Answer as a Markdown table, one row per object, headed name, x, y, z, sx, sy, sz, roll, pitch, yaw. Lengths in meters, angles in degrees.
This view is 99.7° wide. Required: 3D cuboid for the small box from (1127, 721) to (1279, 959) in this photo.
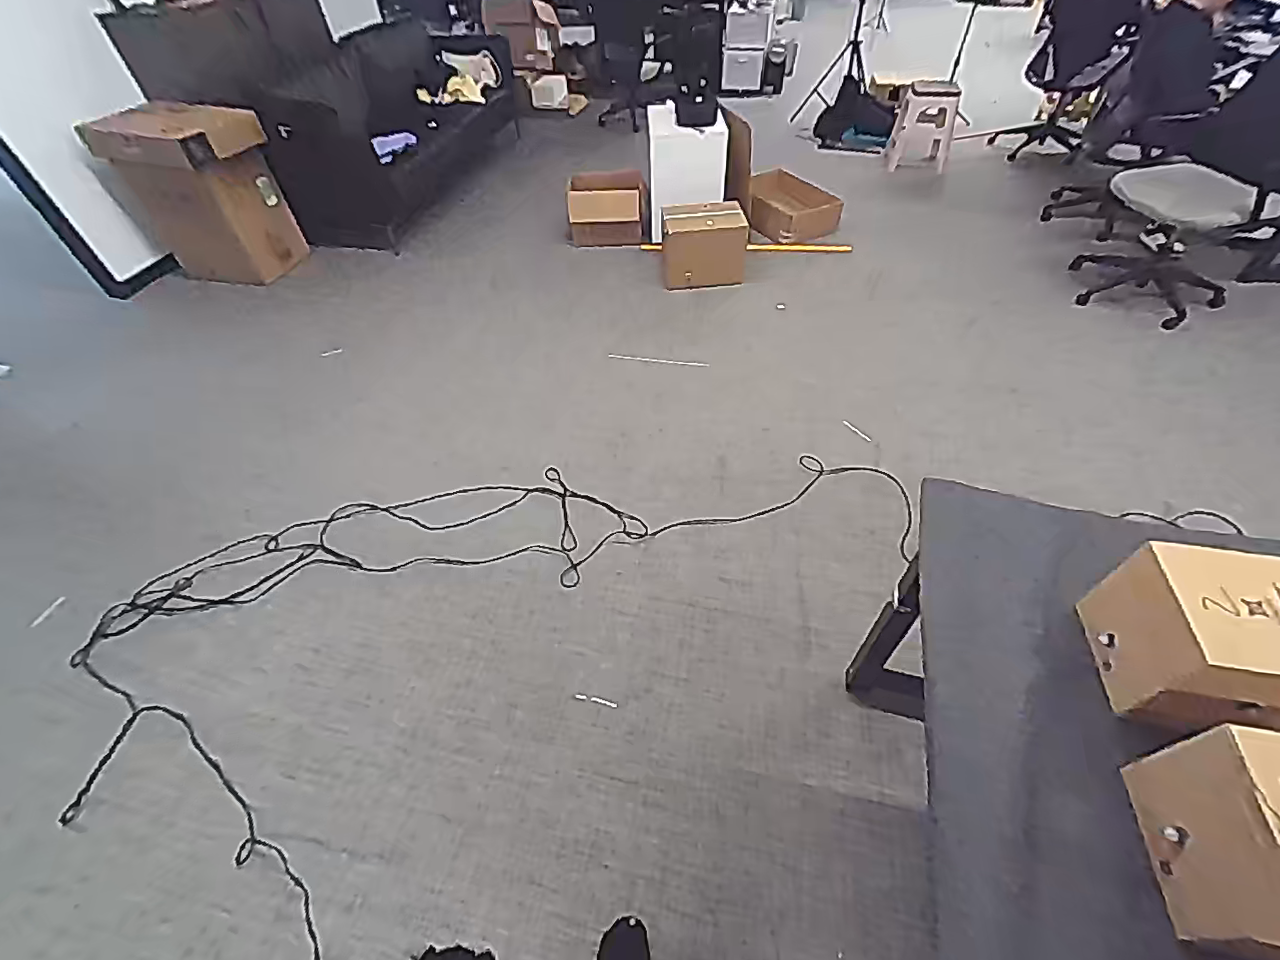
| name | x | y | z | sx | sy | sz | roll | pitch | yaw |
| --- | --- | --- | --- | --- | --- | --- | --- | --- | --- |
| small box | 0.641 | 0.358 | 0.520 | 0.179 | 0.176 | 0.168 | 8 | 49 | 10 |
